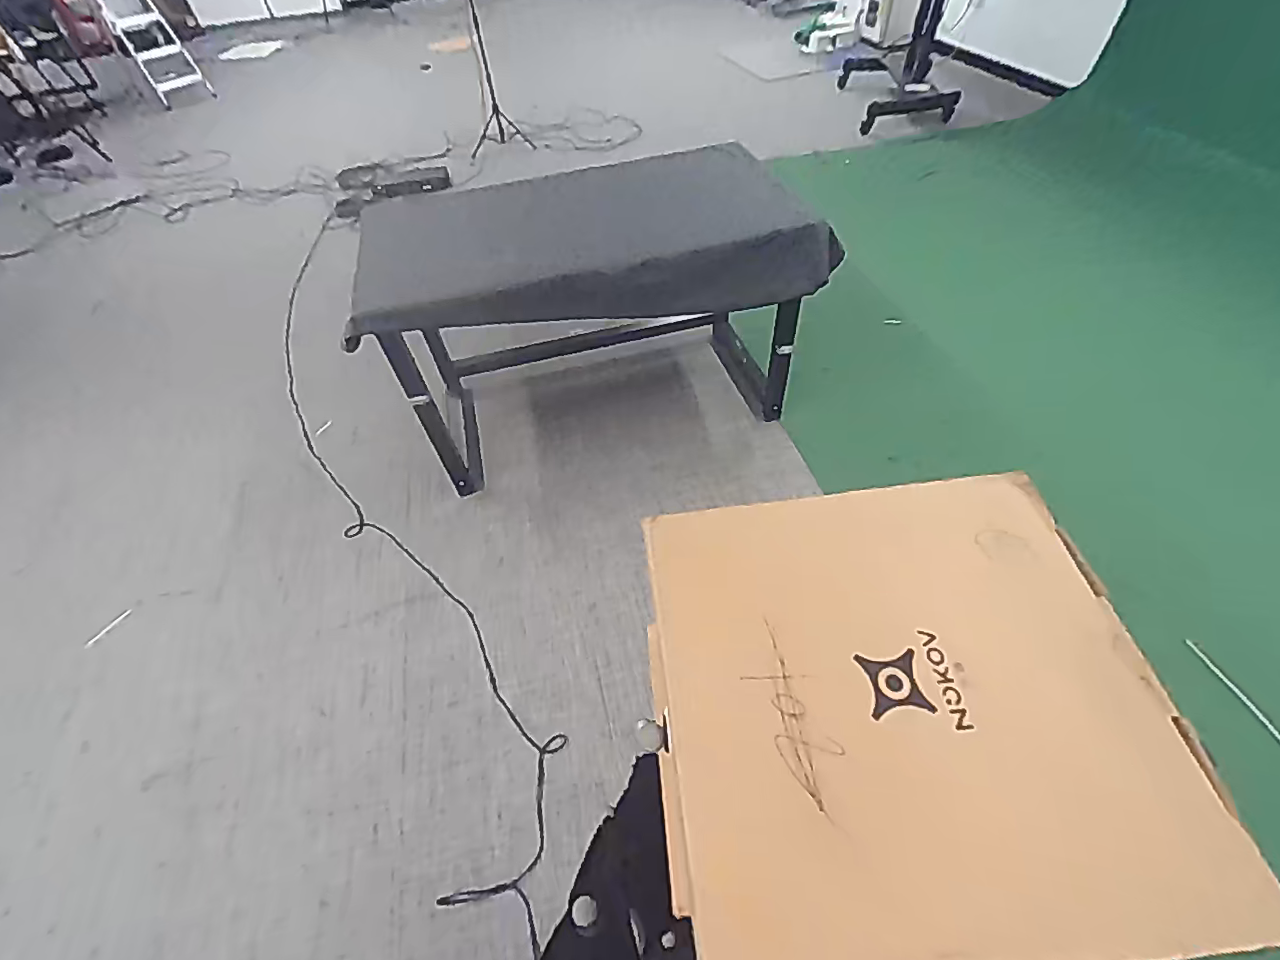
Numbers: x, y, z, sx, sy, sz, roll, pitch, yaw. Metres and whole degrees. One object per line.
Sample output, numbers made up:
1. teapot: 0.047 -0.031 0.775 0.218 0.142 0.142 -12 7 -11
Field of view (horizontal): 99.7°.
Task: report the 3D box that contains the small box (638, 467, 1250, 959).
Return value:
1. small box: 0.098 0.116 0.273 0.179 0.176 0.168 -8 55 0
